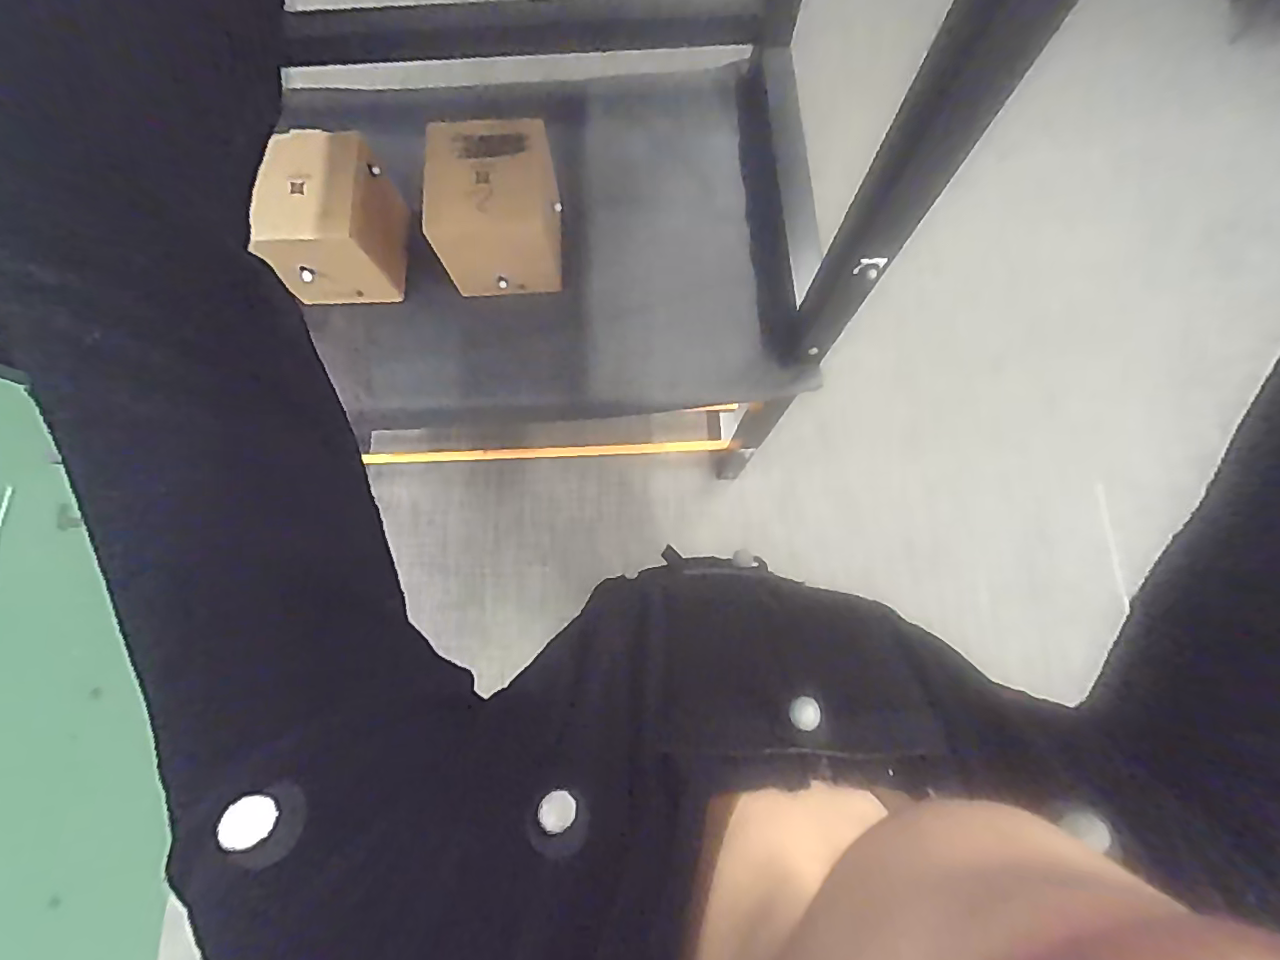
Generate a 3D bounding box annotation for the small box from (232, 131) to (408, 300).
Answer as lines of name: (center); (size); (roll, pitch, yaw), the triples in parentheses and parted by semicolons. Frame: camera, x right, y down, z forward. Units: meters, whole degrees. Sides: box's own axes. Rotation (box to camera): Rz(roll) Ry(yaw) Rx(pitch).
small box: (-0.475, -0.393, 0.829); (0.168, 0.176, 0.179); (-2, 77, 0)
